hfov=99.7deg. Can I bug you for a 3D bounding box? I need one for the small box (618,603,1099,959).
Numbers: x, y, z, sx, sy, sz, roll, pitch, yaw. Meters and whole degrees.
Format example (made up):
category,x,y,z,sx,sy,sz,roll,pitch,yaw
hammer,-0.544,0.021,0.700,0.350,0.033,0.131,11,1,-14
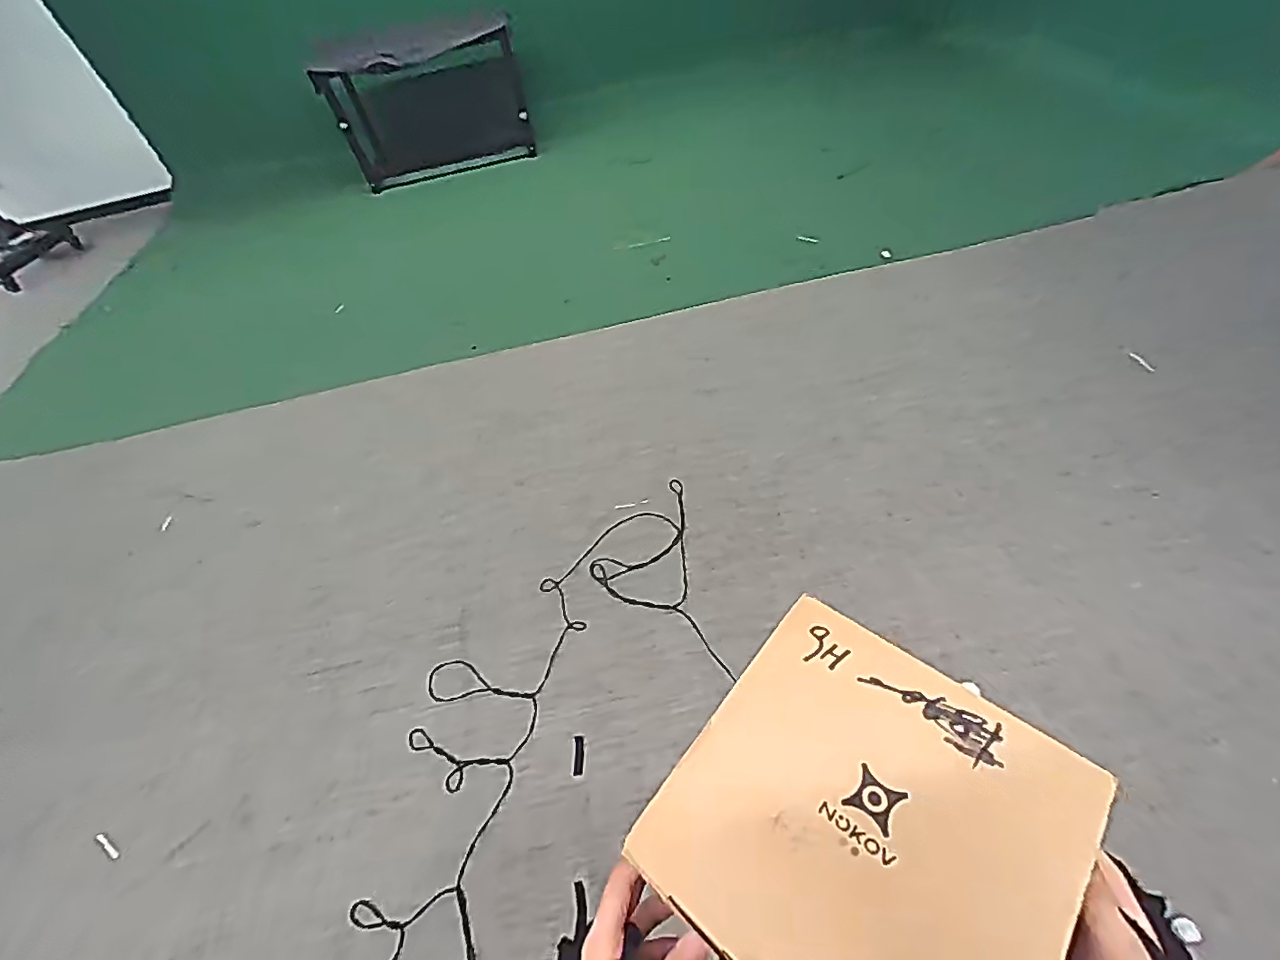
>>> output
category,x,y,z,sx,sy,sz,roll,pitch,yaw
small box,0.115,0.216,0.323,0.168,0.176,0.179,30,61,30
